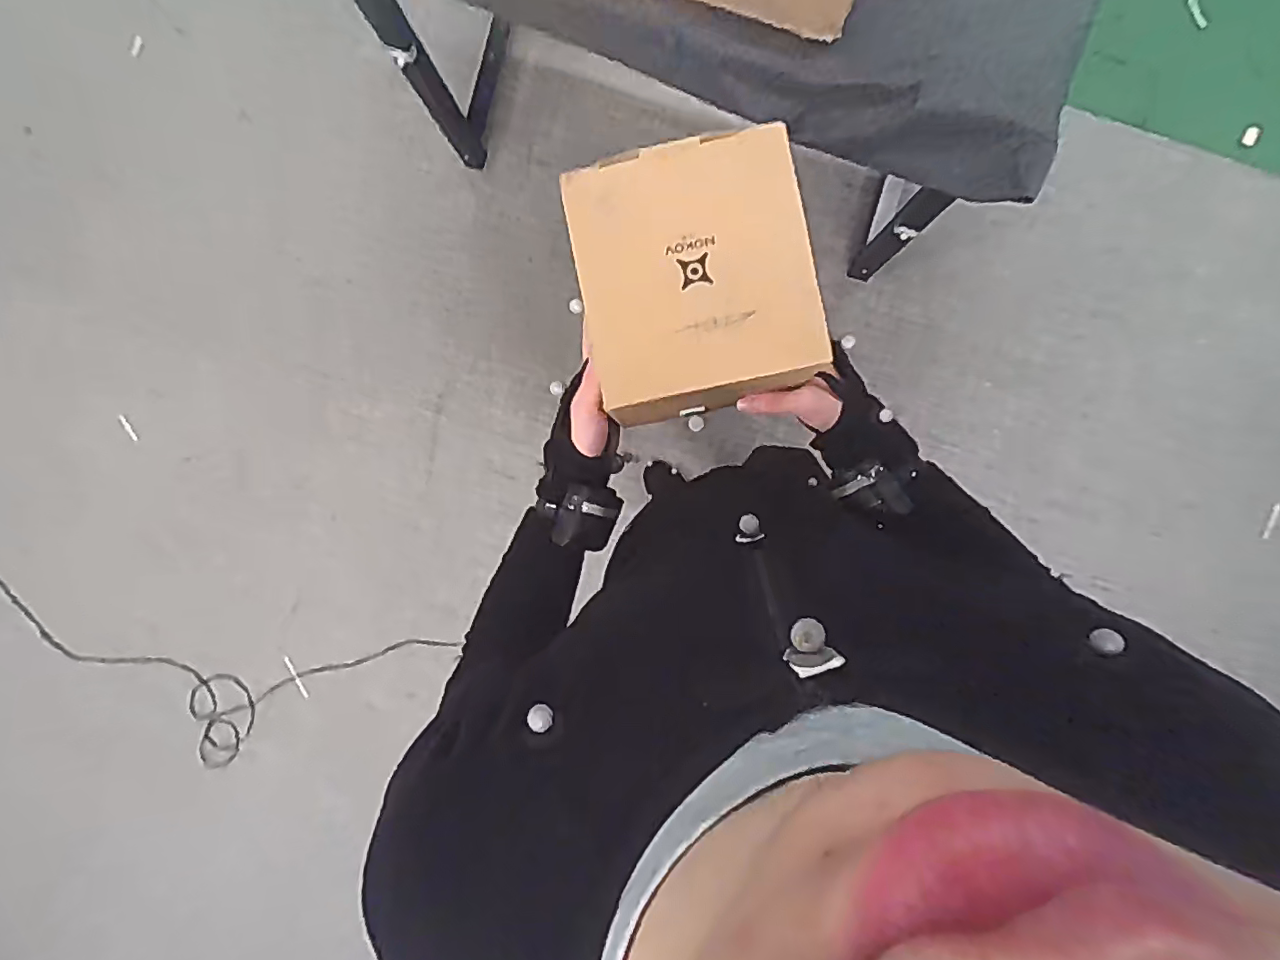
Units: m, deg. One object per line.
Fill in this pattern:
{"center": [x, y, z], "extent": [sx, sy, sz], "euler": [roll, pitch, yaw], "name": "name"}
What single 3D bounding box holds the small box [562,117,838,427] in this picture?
{"center": [0.044, -0.153, 0.459], "extent": [0.168, 0.176, 0.179], "euler": [-13, 90, 4], "name": "small box"}
